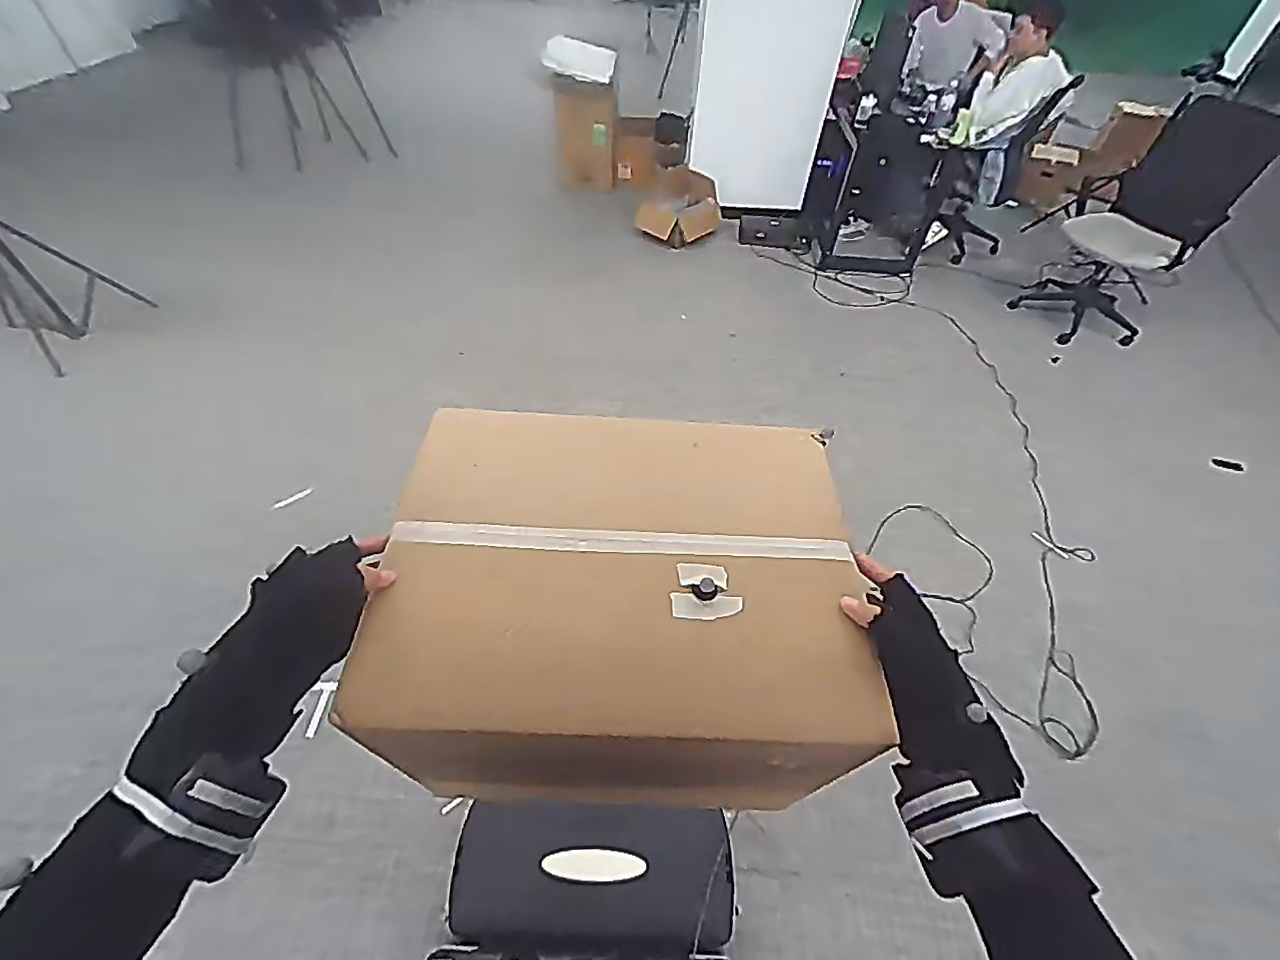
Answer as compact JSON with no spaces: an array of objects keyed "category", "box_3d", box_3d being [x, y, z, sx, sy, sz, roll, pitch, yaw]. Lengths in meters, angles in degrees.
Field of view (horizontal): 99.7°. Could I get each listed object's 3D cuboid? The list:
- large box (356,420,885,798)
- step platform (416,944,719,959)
[{"category":"large box","box_3d":[-0.020,0.155,0.607,0.408,0.320,0.320,3,52,-3]},{"category":"step platform","box_3d":[-0.151,1.137,1.095,0.684,0.204,0.286,1,49,0]}]
